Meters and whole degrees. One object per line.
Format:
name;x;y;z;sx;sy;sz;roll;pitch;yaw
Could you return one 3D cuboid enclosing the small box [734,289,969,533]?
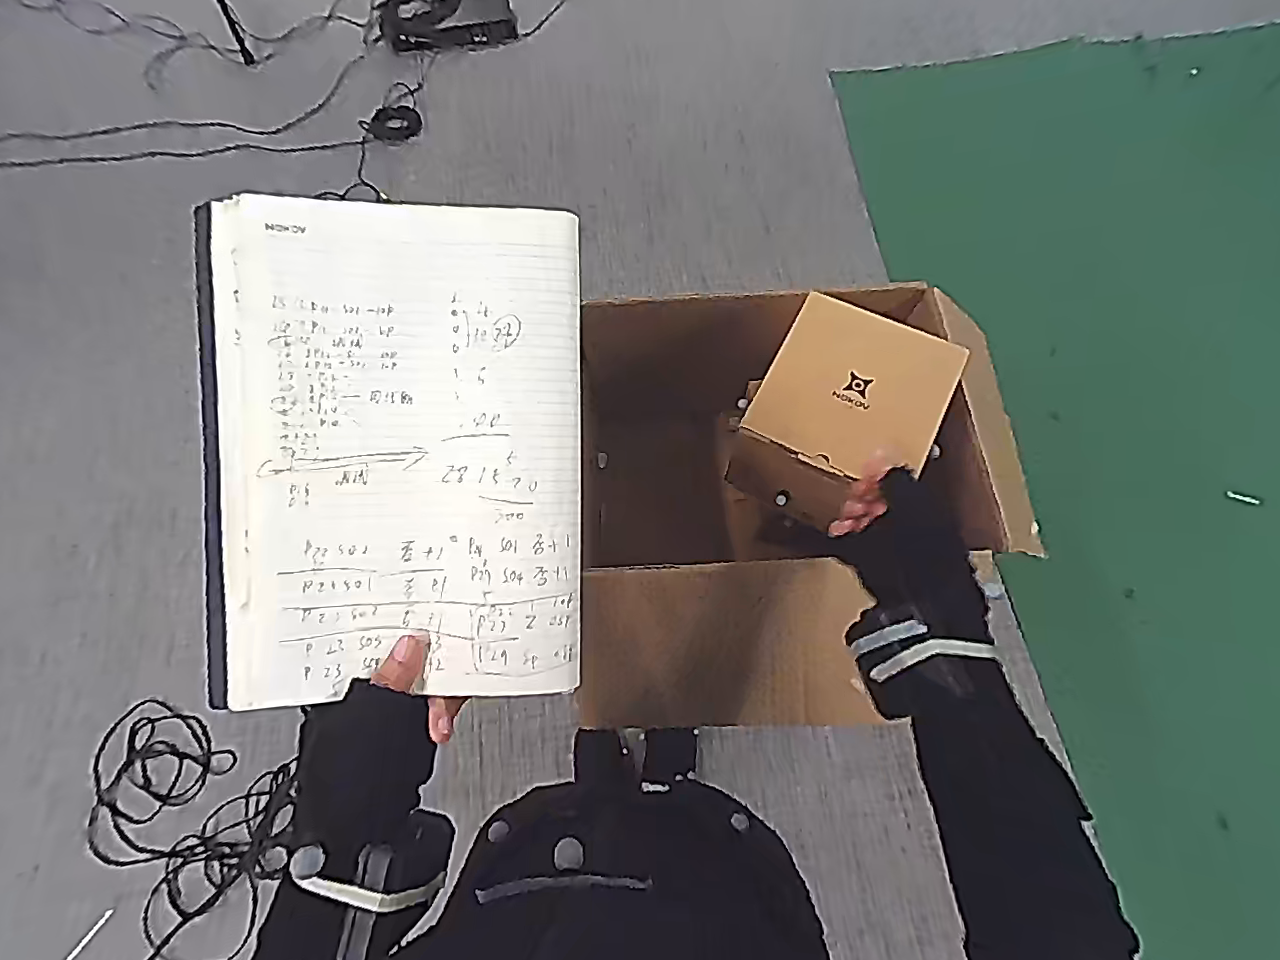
small box;0.214;-0.065;0.593;0.168;0.176;0.179;26;76;11
